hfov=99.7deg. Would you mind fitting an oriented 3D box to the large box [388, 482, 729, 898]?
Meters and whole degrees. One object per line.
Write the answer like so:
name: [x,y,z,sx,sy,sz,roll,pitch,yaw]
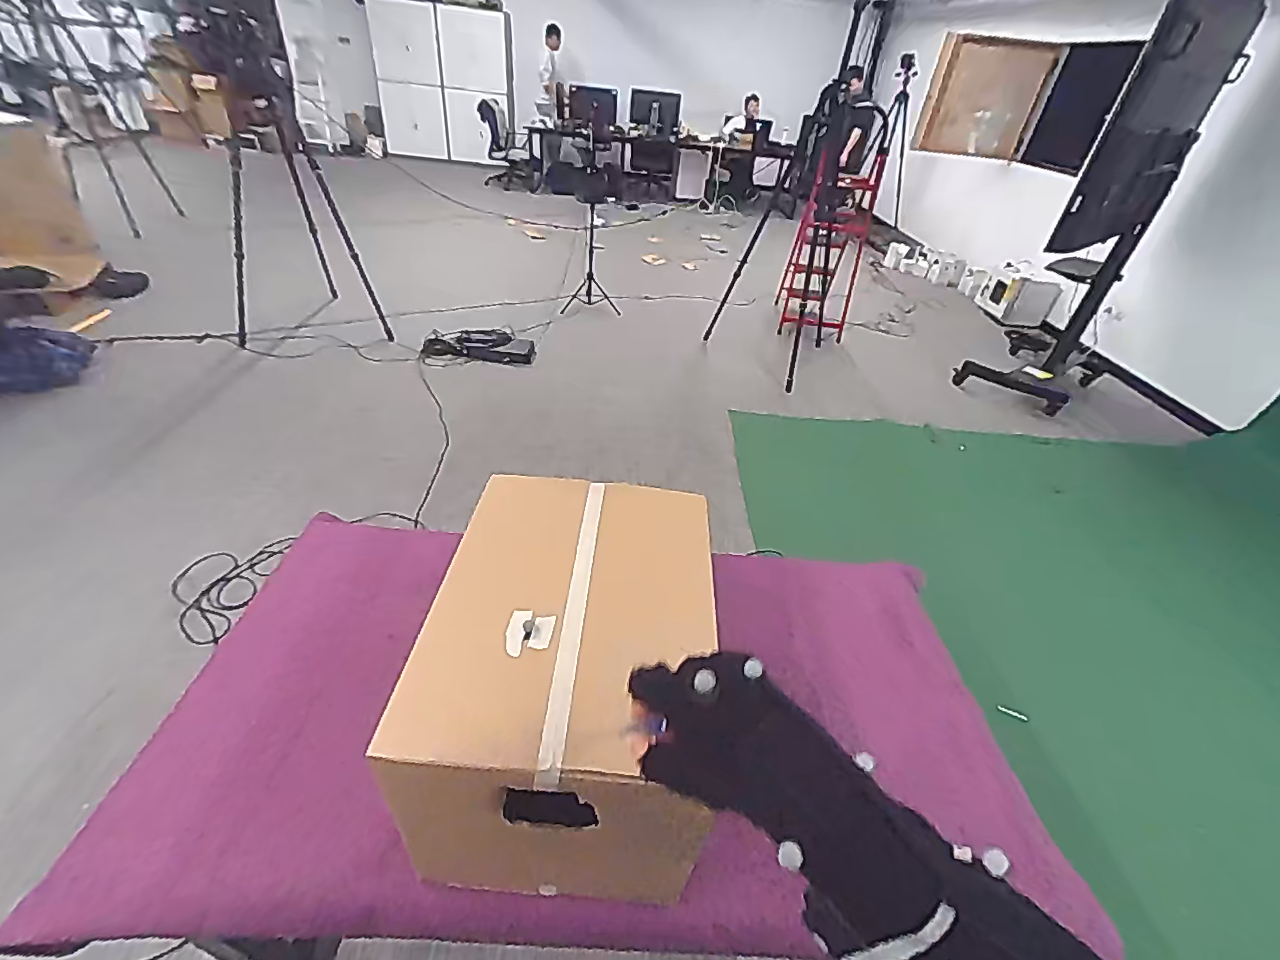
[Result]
large box: [-0.081,0.257,0.723,0.320,0.320,0.408,6,37,-1]
